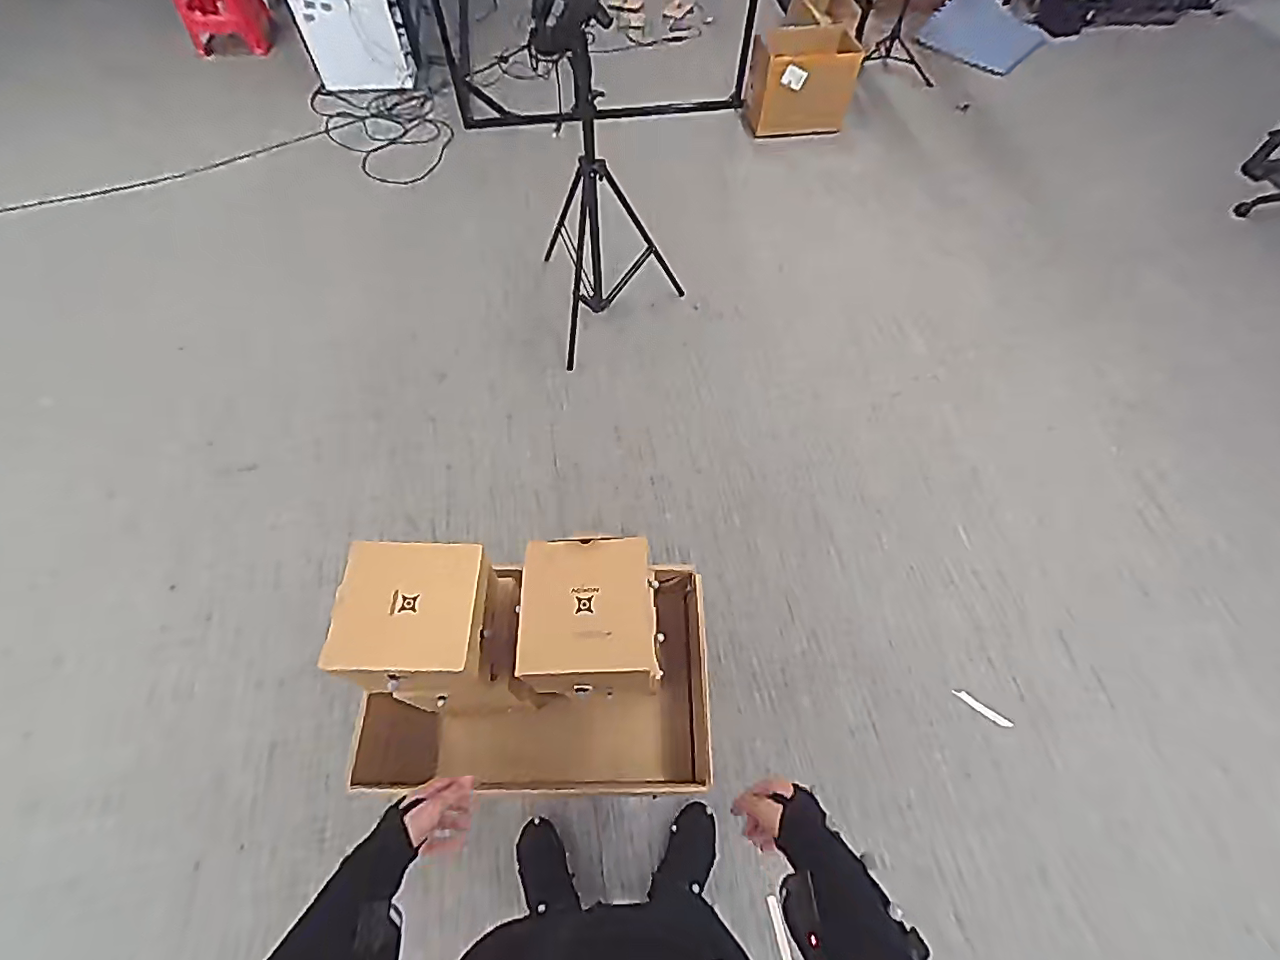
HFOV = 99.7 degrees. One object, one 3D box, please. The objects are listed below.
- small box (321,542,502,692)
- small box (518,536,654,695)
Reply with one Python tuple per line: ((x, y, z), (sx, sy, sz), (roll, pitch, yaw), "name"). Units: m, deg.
((-0.296, 0.195, 0.751), (0.179, 0.176, 0.168), (1, 61, -3), "small box")
((-0.066, 0.193, 0.755), (0.168, 0.176, 0.179), (-2, 60, 0), "small box")
